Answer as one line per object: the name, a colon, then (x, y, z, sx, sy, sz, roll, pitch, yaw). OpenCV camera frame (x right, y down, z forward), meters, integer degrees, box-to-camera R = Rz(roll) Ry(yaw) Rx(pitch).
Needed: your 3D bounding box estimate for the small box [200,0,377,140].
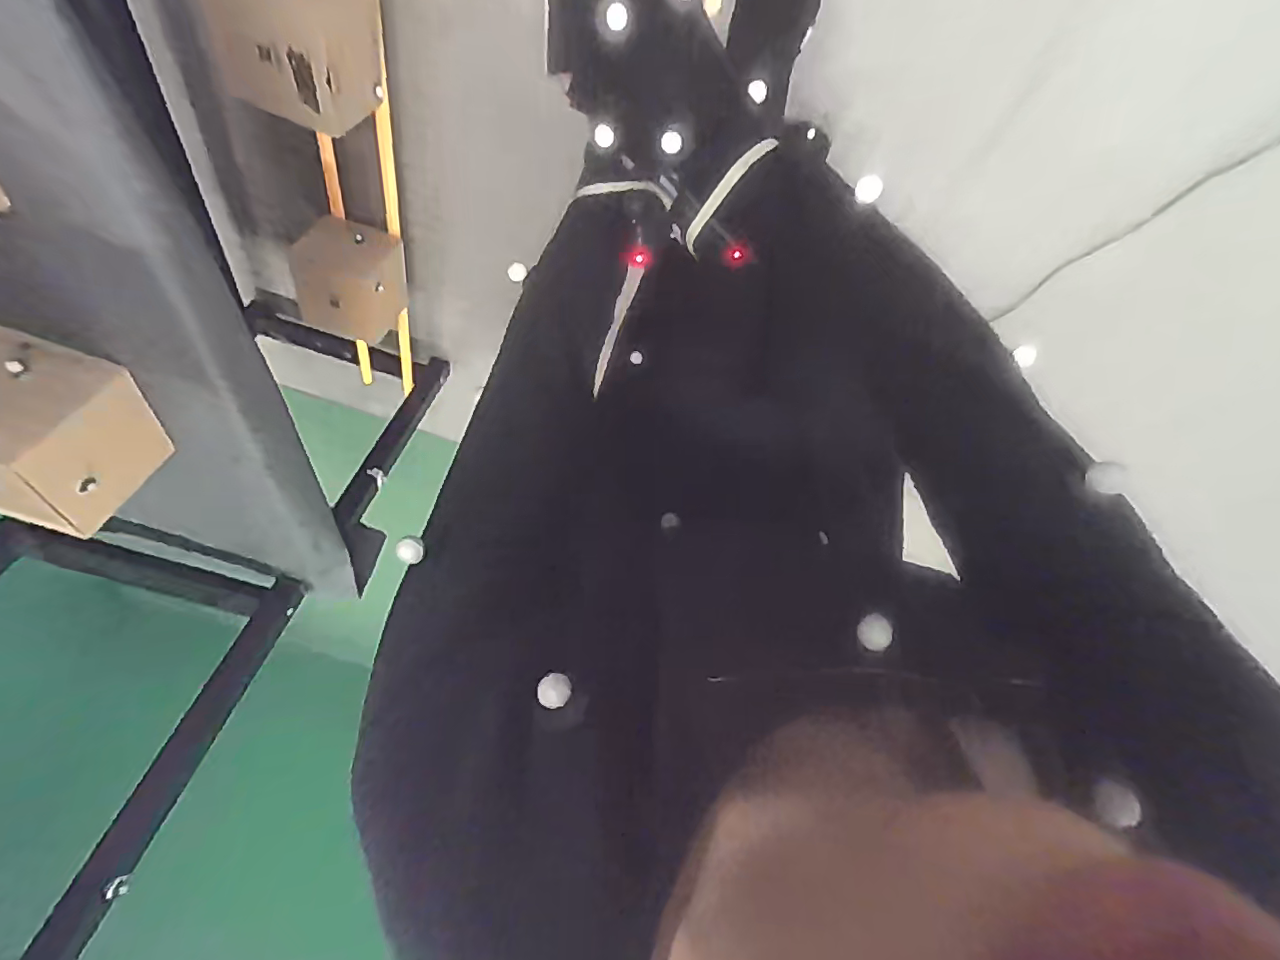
small box: (-0.529, -0.678, 0.841, 0.179, 0.176, 0.168, 20, 141, -8)

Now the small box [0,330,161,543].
small box: (-0.761, -0.053, 0.673, 0.168, 0.176, 0.179, 19, 142, -8)
